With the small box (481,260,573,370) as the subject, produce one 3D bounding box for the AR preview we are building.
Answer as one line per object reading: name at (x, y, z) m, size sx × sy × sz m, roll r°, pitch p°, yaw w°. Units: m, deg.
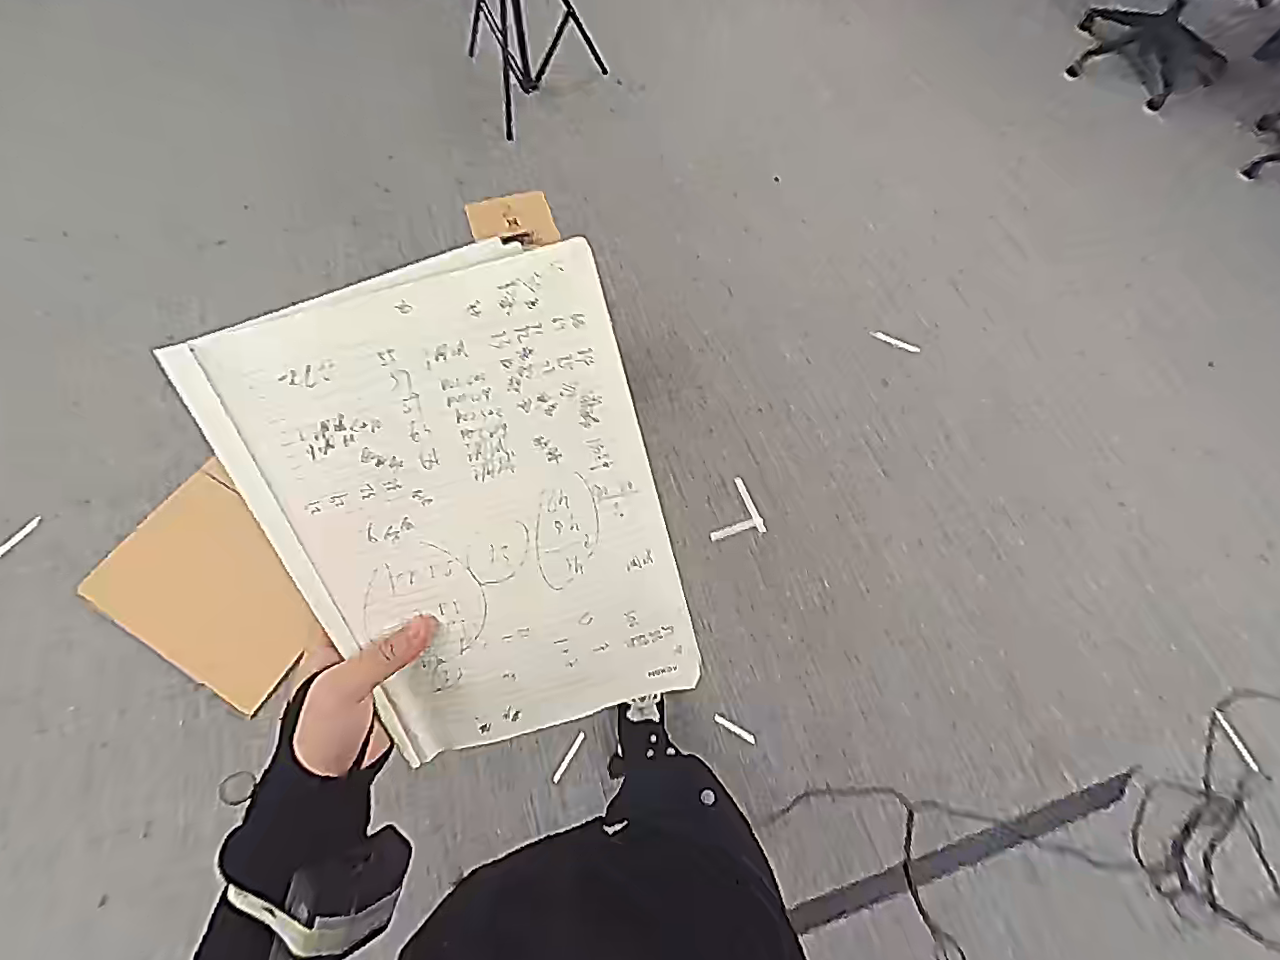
small box at (-0.265, -0.386, 1.297) m, size 0.168 × 0.176 × 0.179 m, roll -19°, pitch 67°, yaw -11°
